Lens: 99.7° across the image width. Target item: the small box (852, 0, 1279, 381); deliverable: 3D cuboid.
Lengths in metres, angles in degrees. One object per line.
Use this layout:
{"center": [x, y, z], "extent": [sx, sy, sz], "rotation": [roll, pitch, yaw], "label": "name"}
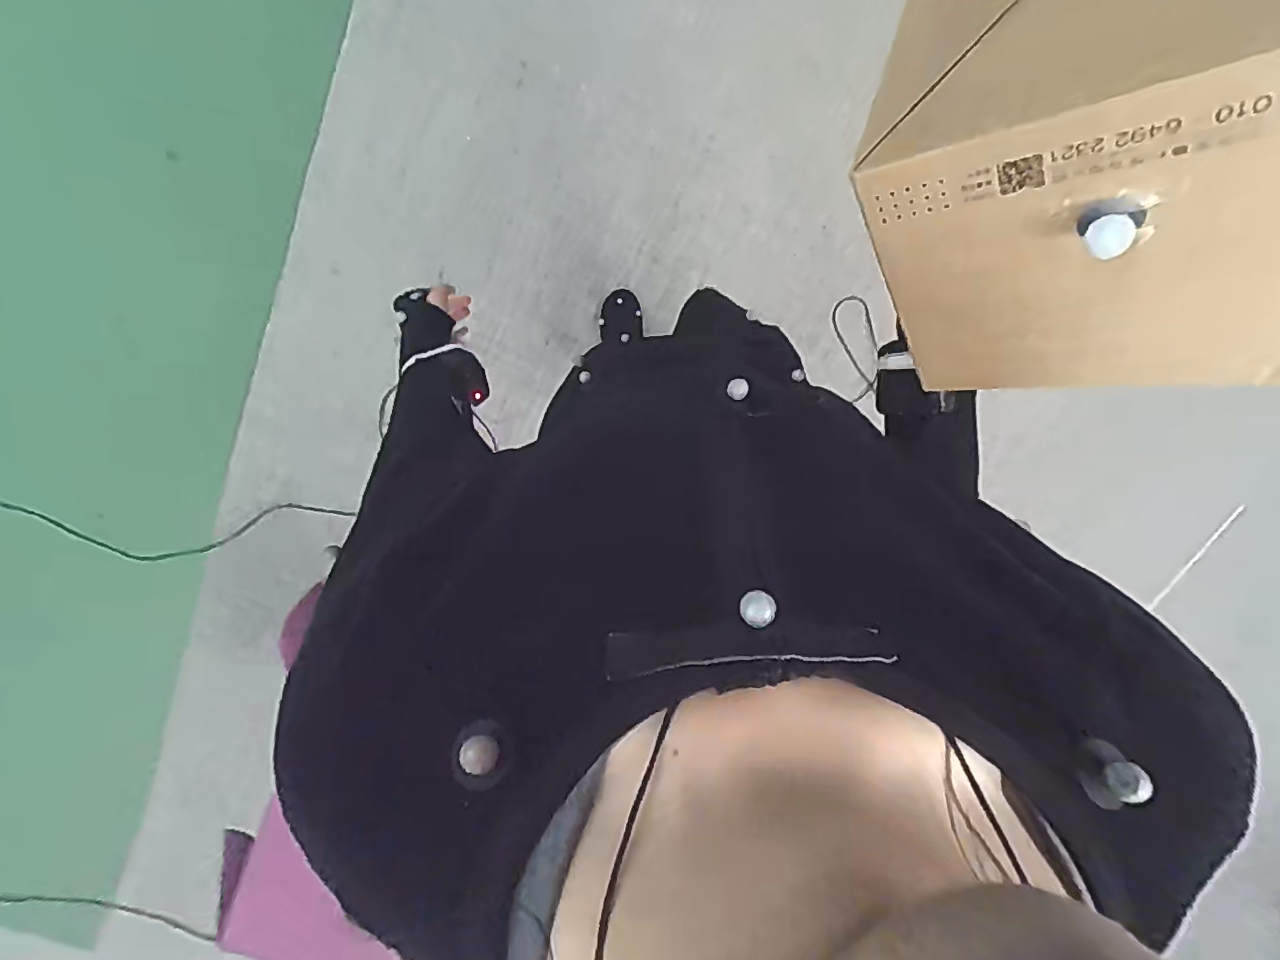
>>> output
{"center": [0.225, -0.170, 0.262], "extent": [0.176, 0.168, 0.179], "rotation": [40, 66, -42], "label": "small box"}
